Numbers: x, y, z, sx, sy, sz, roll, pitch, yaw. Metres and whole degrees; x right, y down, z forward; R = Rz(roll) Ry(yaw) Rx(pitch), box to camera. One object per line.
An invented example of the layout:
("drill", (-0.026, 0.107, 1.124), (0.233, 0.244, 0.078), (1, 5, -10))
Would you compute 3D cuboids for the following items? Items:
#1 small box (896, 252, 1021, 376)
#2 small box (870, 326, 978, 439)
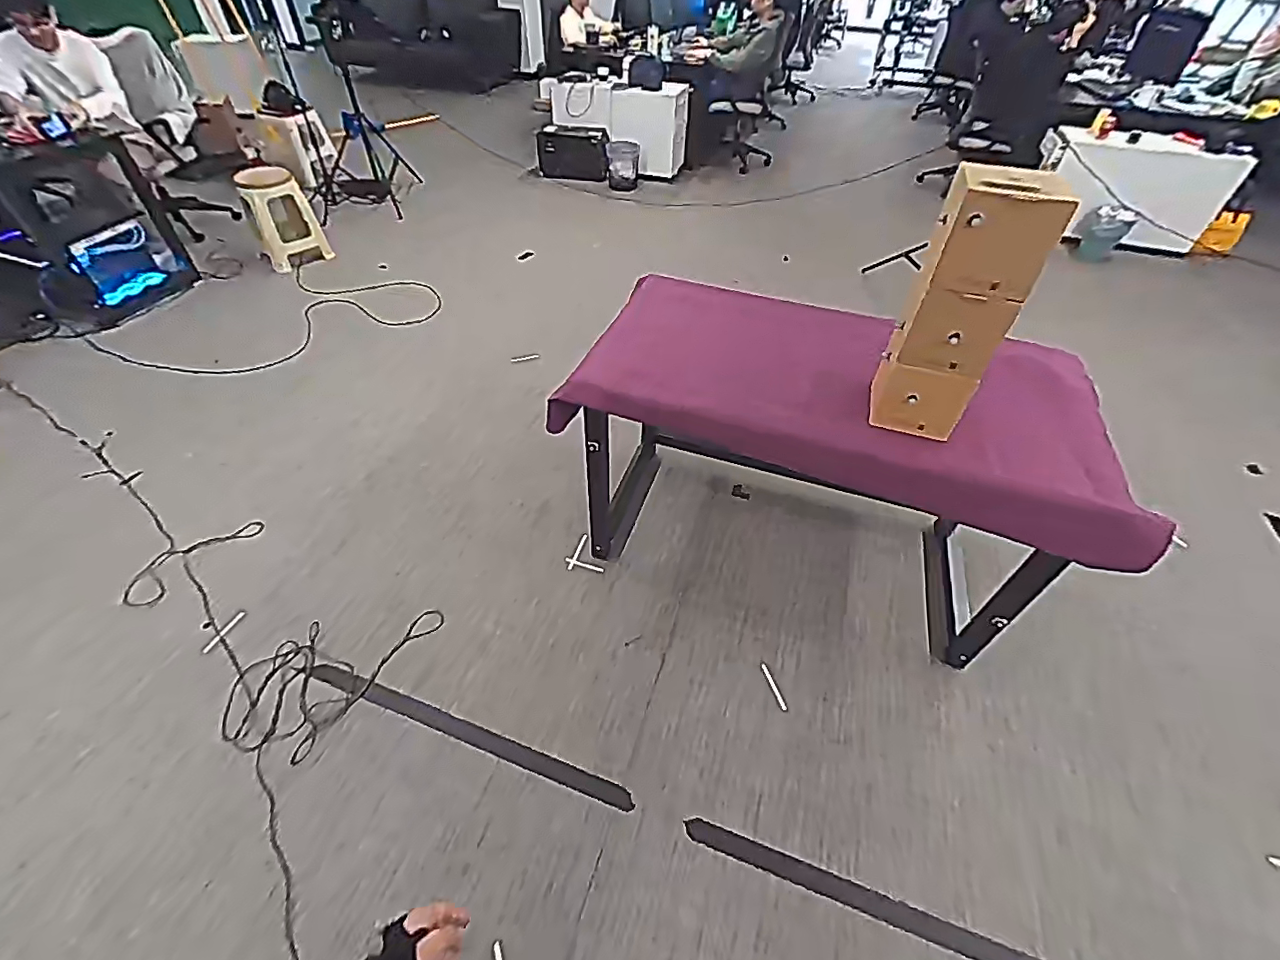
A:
("small box", (0.633, -0.334, 1.094), (0.168, 0.176, 0.179), (16, 47, 13))
("small box", (0.627, -0.217, 1.208), (0.168, 0.176, 0.179), (15, 47, 12))
